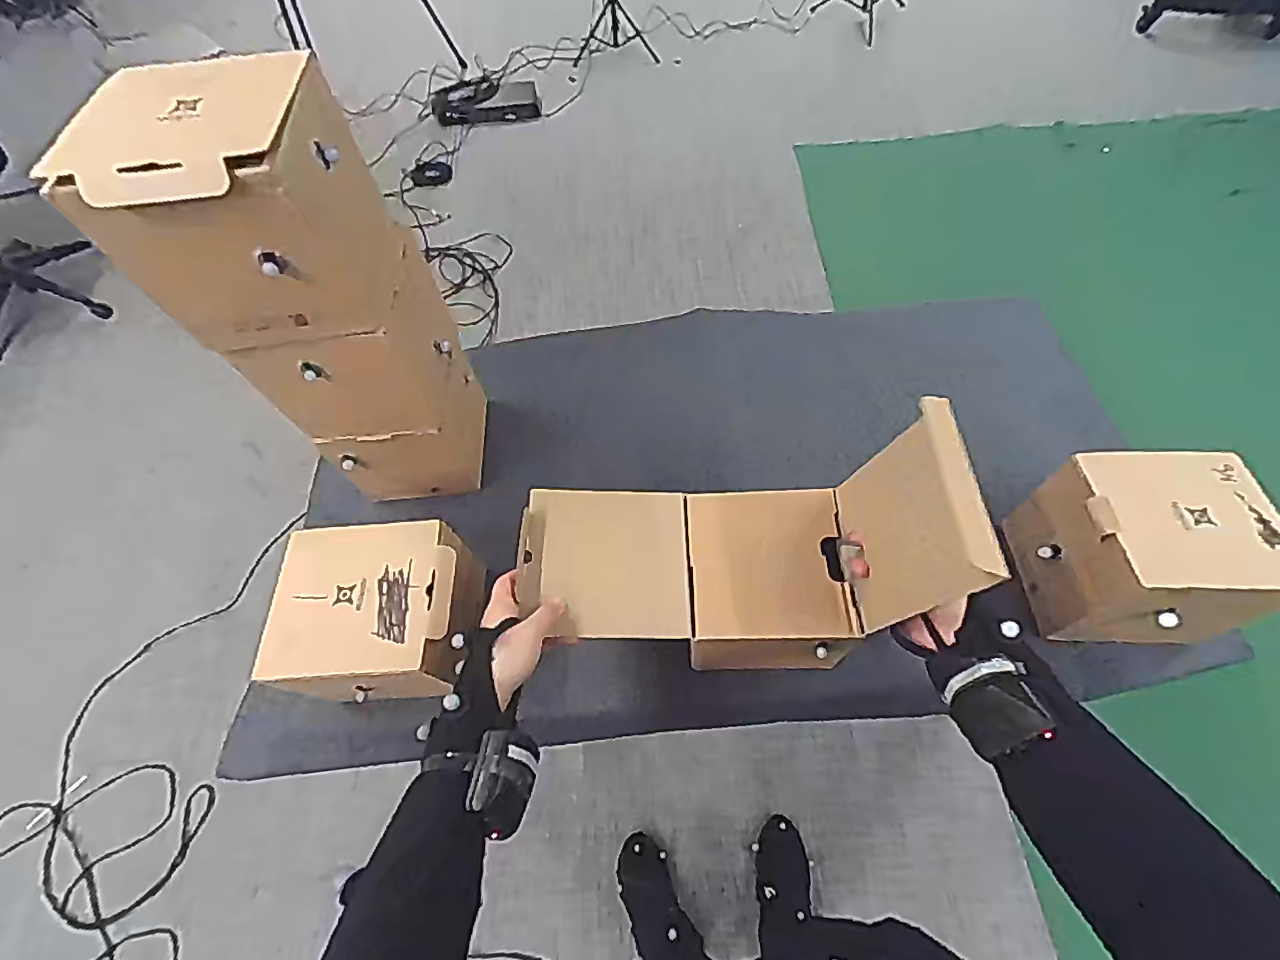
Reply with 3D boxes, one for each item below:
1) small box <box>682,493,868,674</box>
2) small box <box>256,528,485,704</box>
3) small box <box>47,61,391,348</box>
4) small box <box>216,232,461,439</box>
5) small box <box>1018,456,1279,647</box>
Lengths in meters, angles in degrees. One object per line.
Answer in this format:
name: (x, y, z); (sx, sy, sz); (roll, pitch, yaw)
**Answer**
small box: (0.144, 0.129, 0.636); (0.179, 0.176, 0.168); (-3, 61, 5)
small box: (-0.296, 0.168, 0.643); (0.179, 0.176, 0.168); (-4, 61, 2)
small box: (-0.349, -0.239, 0.496); (0.168, 0.176, 0.179); (-8, 60, -2)
small box: (-0.333, -0.161, 0.638); (0.179, 0.176, 0.168); (-5, 62, 1)
small box: (0.577, 0.087, 0.622); (0.179, 0.176, 0.168); (0, 57, 5)
